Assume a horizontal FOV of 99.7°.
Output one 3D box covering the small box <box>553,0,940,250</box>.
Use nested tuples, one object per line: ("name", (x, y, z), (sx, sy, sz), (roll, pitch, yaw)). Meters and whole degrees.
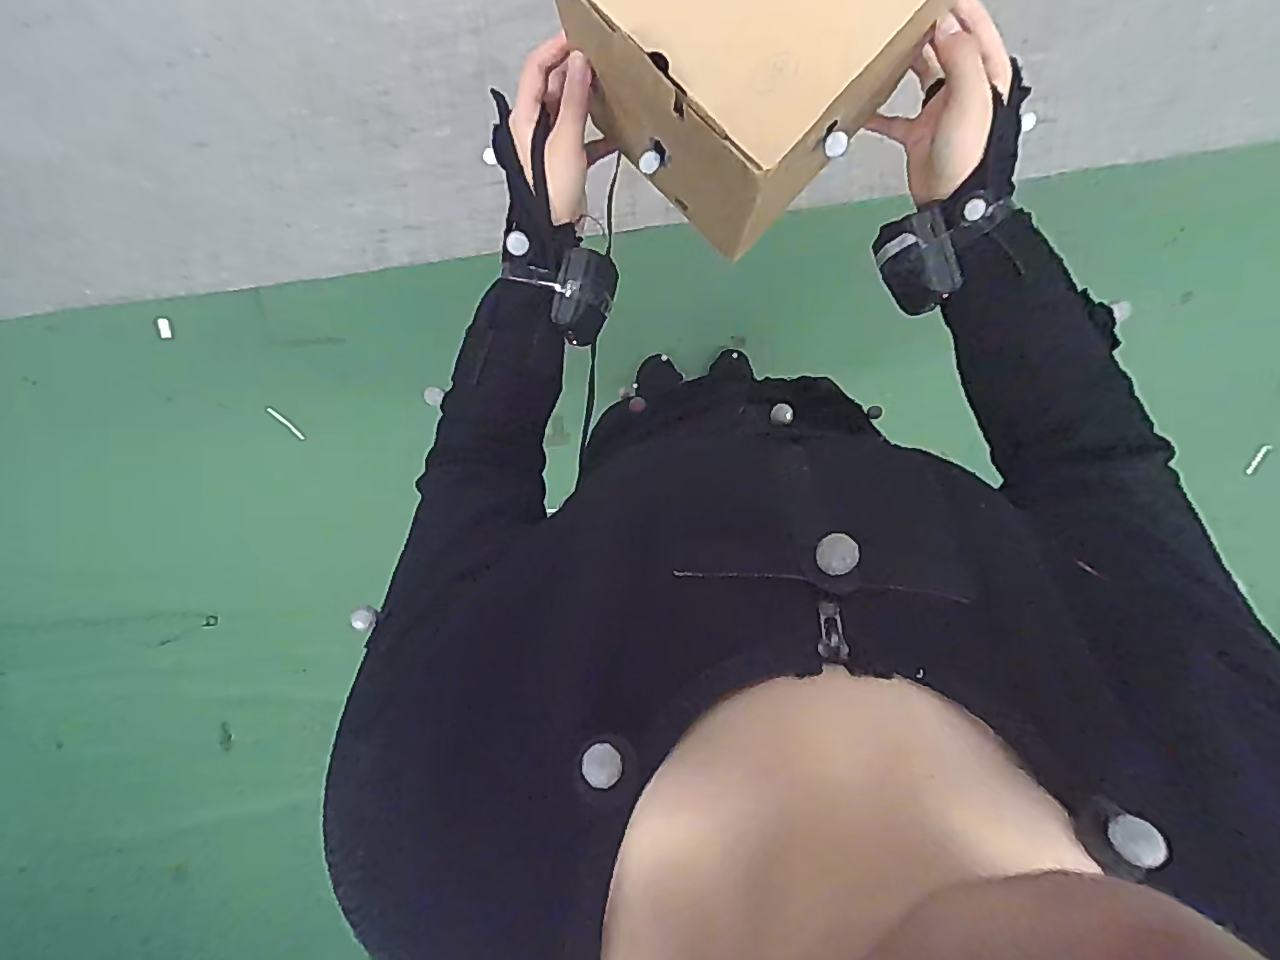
("small box", (0.072, -0.290, 0.361), (0.168, 0.176, 0.179), (44, 99, -2))
